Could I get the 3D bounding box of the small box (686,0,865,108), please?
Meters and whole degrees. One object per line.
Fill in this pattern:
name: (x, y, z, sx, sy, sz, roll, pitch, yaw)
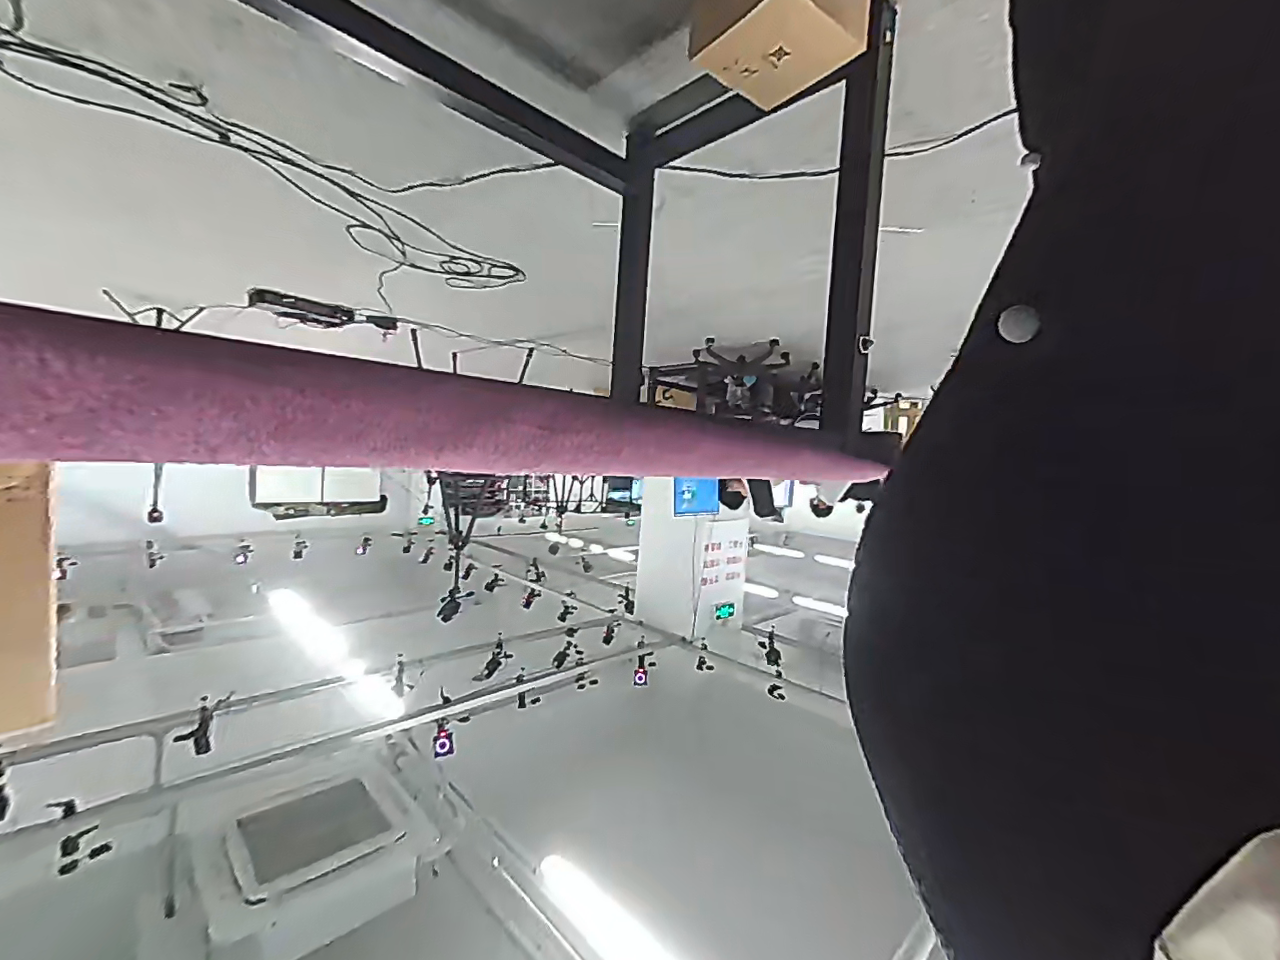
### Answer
small box: (0.180, -0.654, 0.719, 0.168, 0.176, 0.179, 2, -177, -37)
